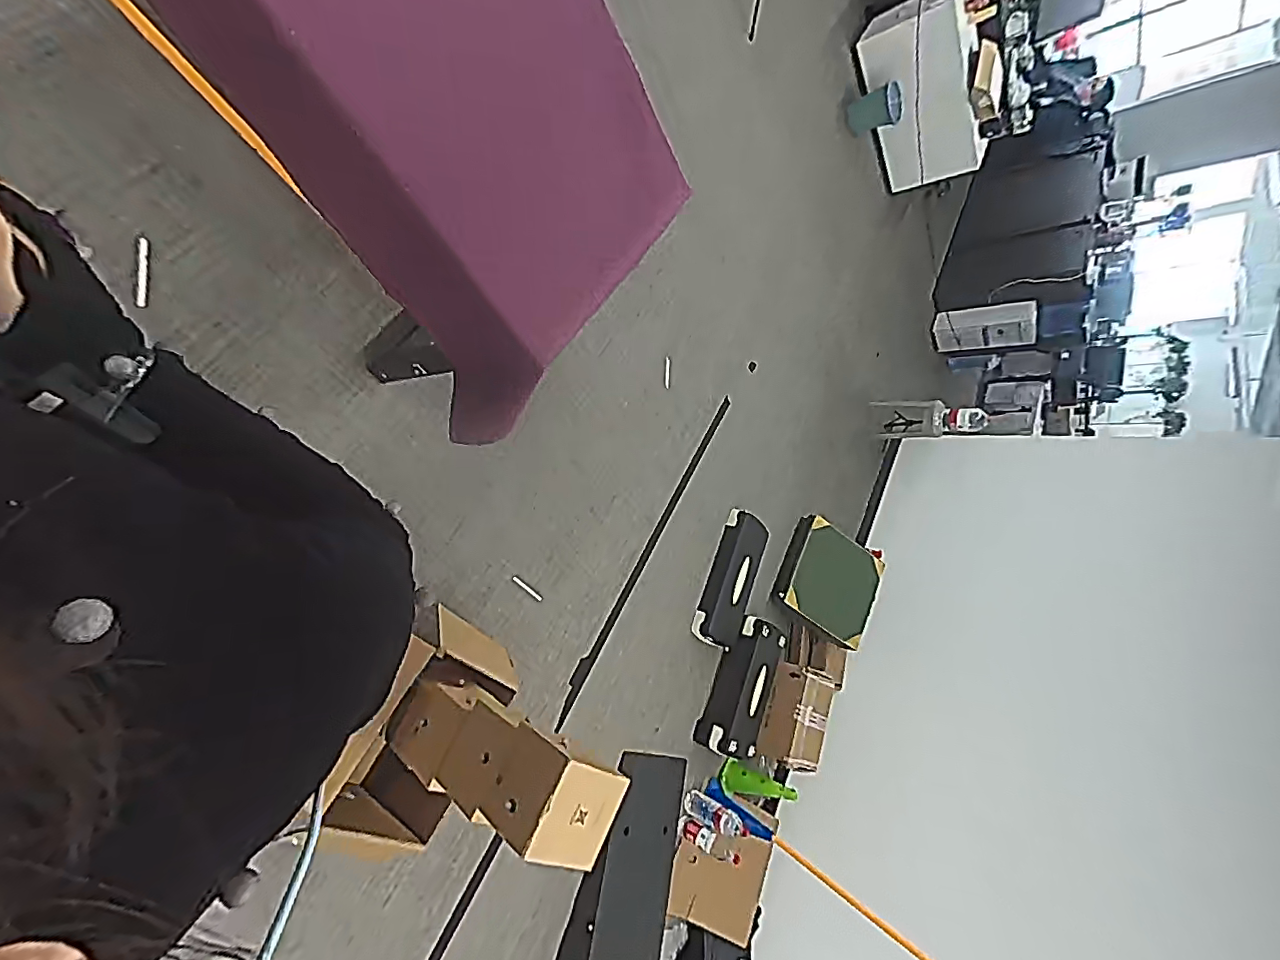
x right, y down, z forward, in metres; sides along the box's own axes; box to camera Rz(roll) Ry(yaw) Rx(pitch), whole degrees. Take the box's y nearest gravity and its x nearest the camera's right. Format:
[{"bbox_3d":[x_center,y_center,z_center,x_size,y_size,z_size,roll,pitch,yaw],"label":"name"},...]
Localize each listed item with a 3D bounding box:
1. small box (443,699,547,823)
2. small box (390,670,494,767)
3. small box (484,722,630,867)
[{"bbox_3d":[-0.277,0.581,1.123,0.168,0.176,0.179,41,67,-37],"label":"small box"},{"bbox_3d":[-0.503,0.594,1.363,0.168,0.176,0.179,24,79,-42],"label":"small box"},{"bbox_3d":[-0.158,0.579,1.010,0.179,0.176,0.168,42,67,-37],"label":"small box"}]
